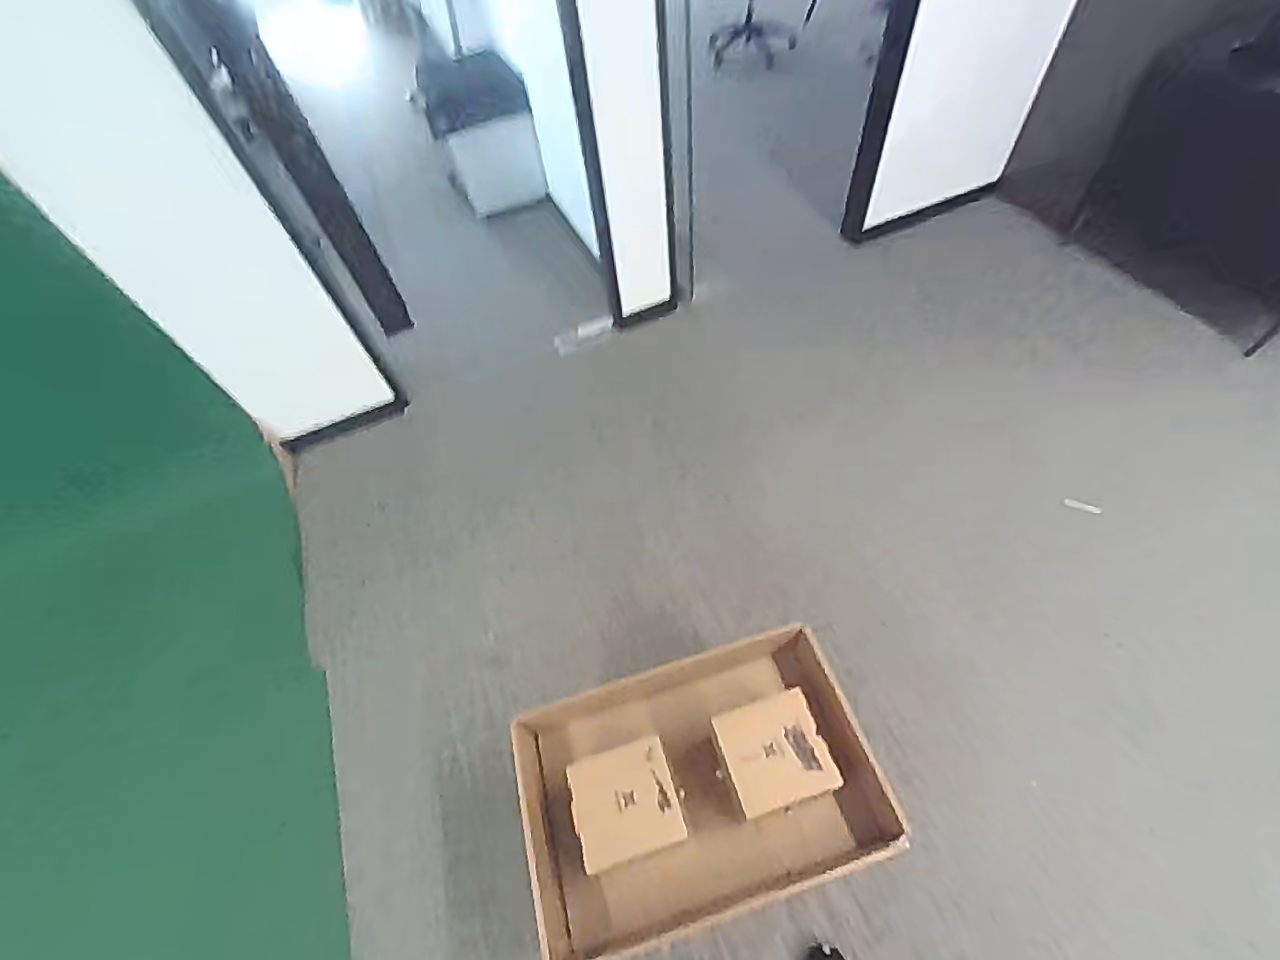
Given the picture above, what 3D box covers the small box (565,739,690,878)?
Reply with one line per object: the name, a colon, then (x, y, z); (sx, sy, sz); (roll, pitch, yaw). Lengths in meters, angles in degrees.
small box: (-0.018, 0.596, 0.975); (0.179, 0.176, 0.168); (-17, 53, -4)
